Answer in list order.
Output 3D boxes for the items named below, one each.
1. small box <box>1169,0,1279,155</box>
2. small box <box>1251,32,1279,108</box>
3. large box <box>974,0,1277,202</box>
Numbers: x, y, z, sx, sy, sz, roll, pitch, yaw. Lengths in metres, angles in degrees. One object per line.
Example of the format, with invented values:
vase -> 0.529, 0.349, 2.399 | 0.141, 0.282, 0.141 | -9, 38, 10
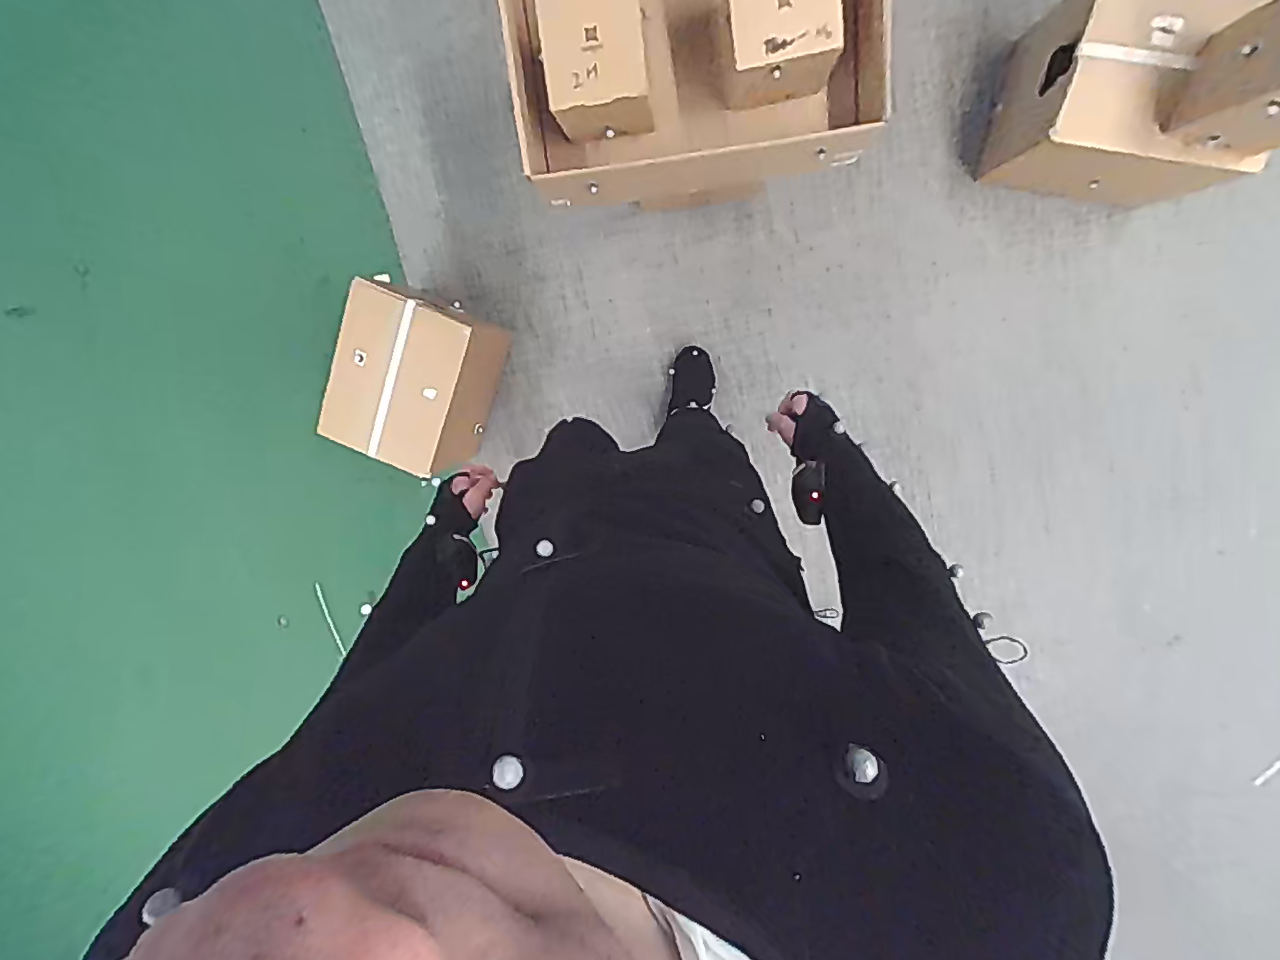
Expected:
small box -> 1.091, -0.697, 0.931 | 0.168, 0.176, 0.179 | 17, 108, 2
small box -> 1.068, -0.647, 0.777 | 0.168, 0.176, 0.179 | 18, 107, 2
large box -> 1.036, -0.817, 1.159 | 0.408, 0.320, 0.320 | 11, 105, 4
